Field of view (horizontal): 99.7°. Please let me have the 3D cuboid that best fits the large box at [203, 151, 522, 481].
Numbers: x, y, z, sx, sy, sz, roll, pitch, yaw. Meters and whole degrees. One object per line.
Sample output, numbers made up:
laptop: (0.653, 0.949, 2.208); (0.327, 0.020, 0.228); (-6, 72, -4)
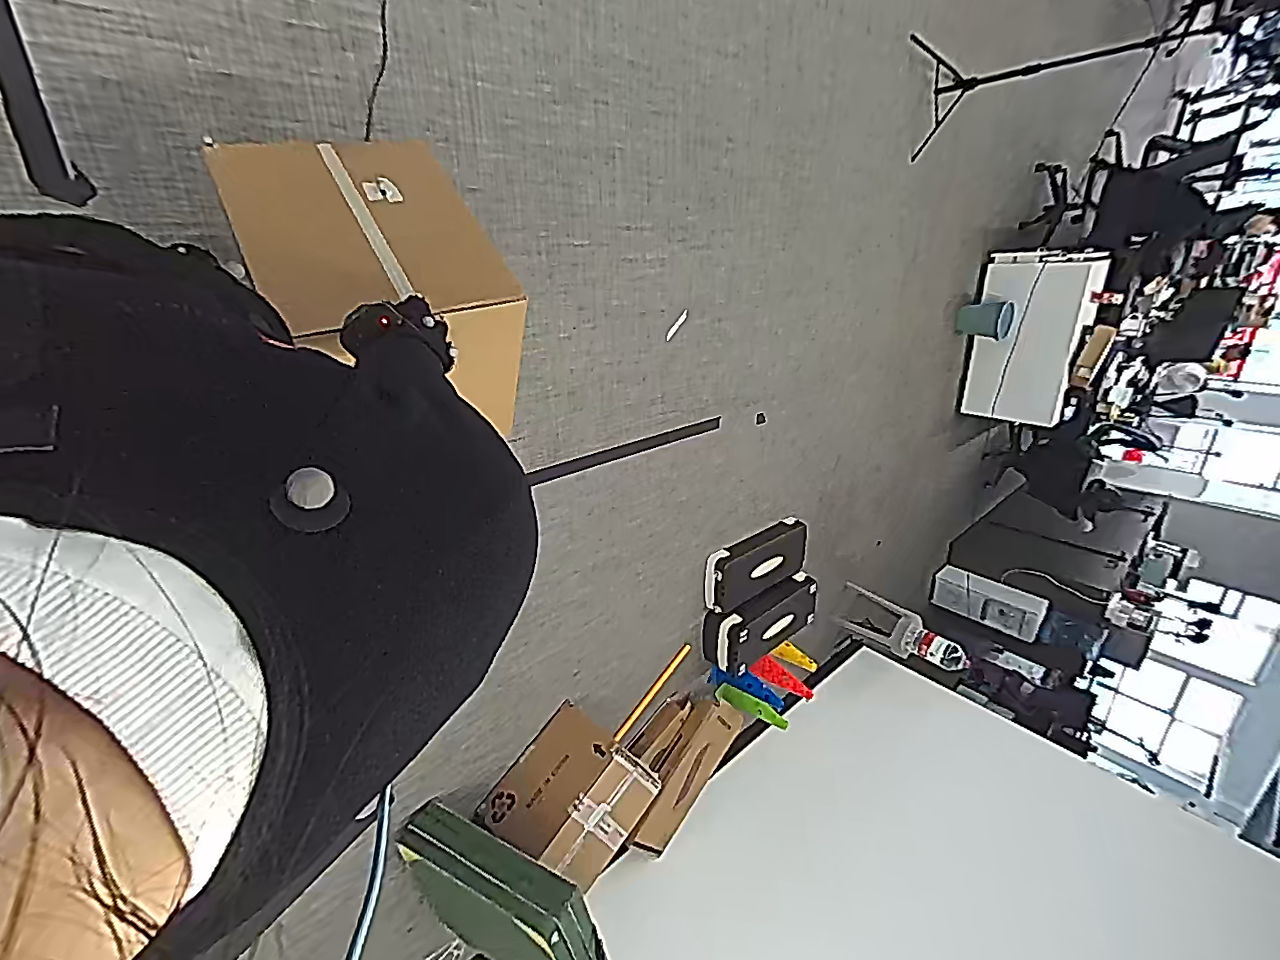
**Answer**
large box: (-0.434, -0.274, 0.893); (0.320, 0.408, 0.320); (-22, 155, -31)
